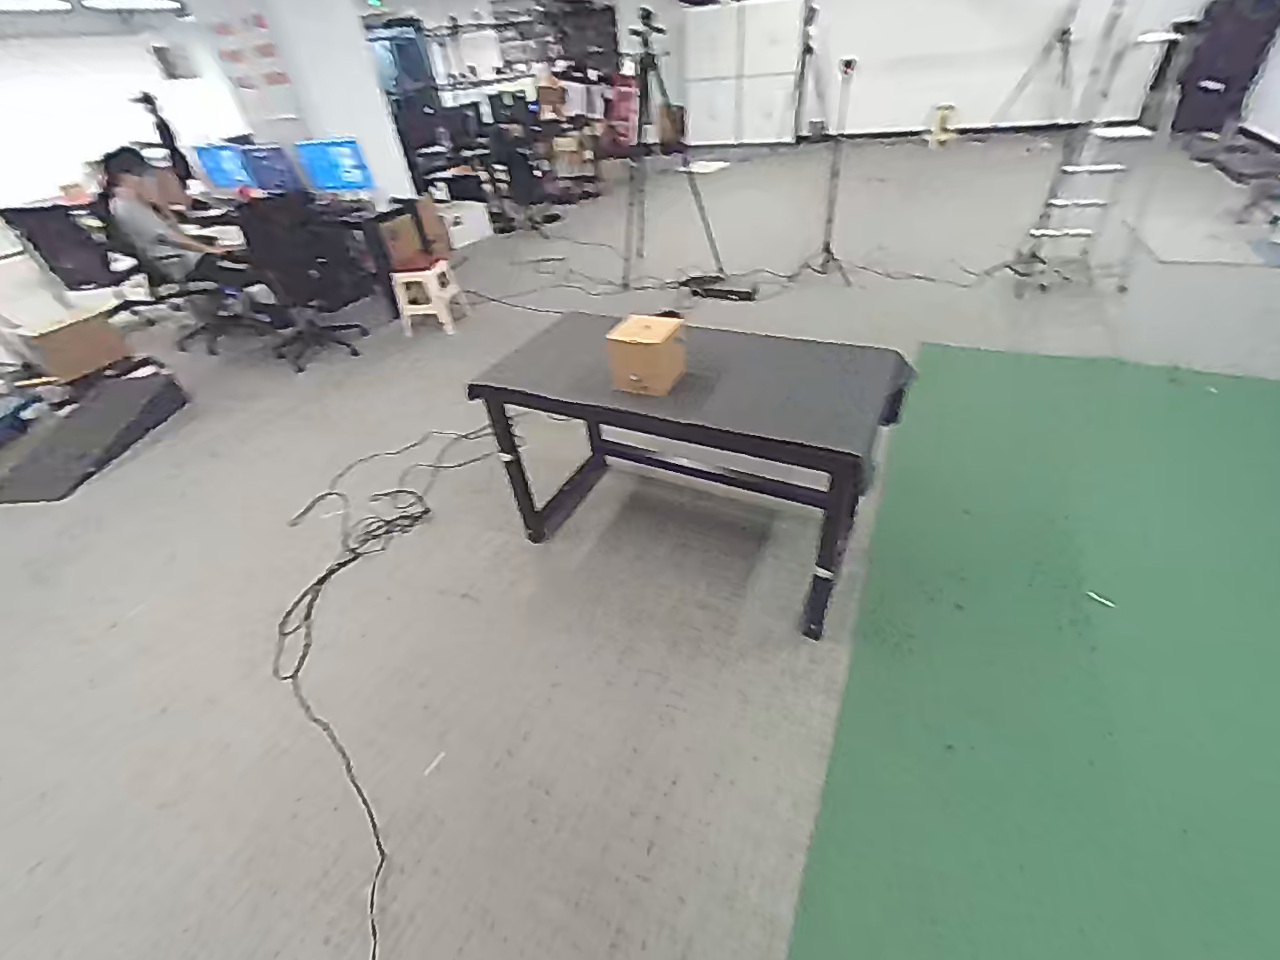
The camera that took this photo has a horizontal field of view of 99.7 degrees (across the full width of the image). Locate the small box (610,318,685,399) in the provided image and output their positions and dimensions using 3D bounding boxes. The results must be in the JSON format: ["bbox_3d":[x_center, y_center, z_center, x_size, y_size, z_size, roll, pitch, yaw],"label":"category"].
[{"bbox_3d":[0.027,-0.362,1.600,0.168,0.176,0.179,13,42,23],"label":"small box"}]
